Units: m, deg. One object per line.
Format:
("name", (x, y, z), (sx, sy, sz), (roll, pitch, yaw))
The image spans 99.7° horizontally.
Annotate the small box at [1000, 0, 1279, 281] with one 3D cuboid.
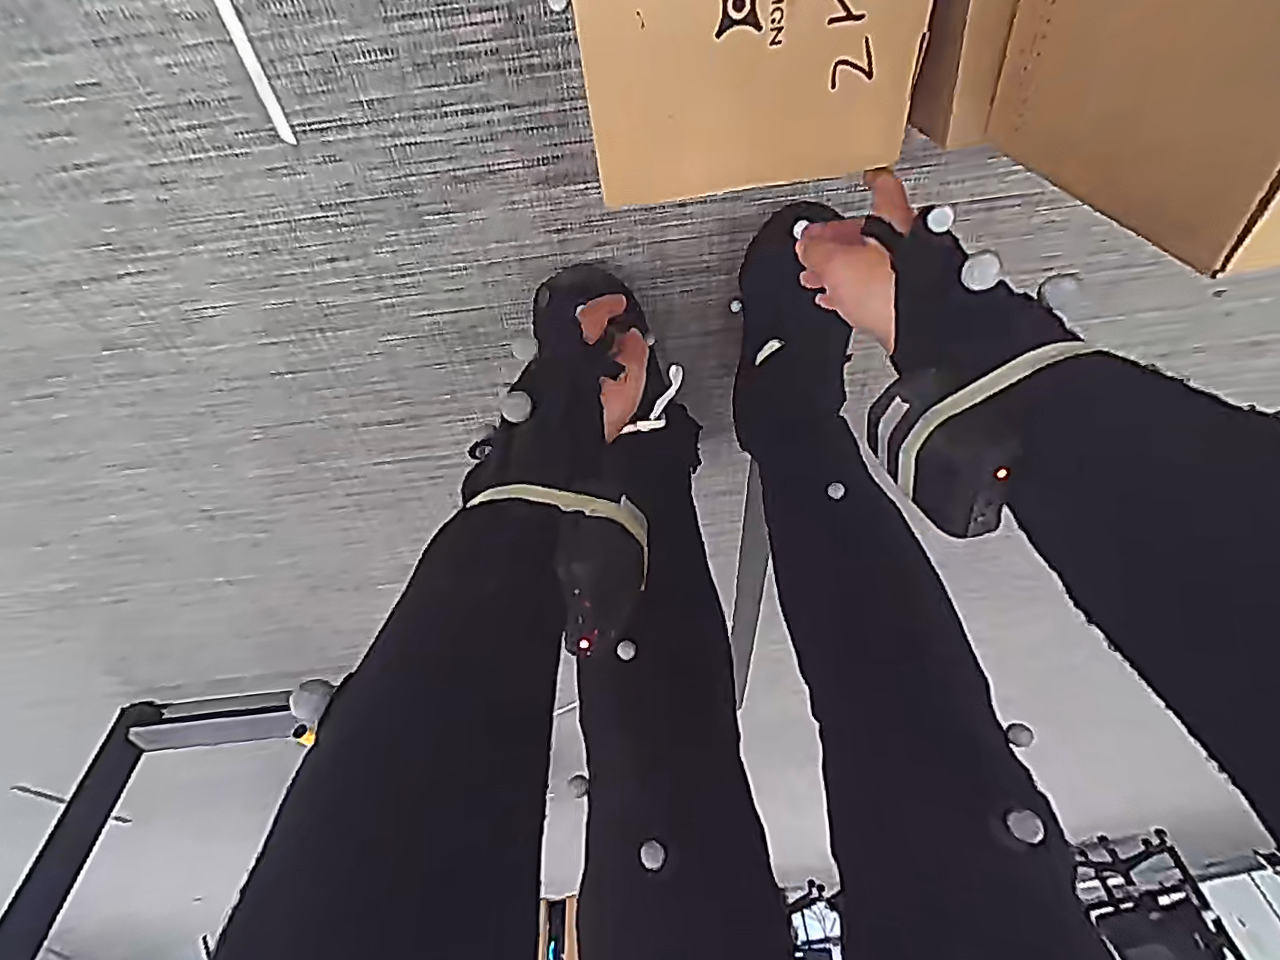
("small box", (0.265, -0.201, 0.186), (0.168, 0.176, 0.179), (-11, 136, 4))
